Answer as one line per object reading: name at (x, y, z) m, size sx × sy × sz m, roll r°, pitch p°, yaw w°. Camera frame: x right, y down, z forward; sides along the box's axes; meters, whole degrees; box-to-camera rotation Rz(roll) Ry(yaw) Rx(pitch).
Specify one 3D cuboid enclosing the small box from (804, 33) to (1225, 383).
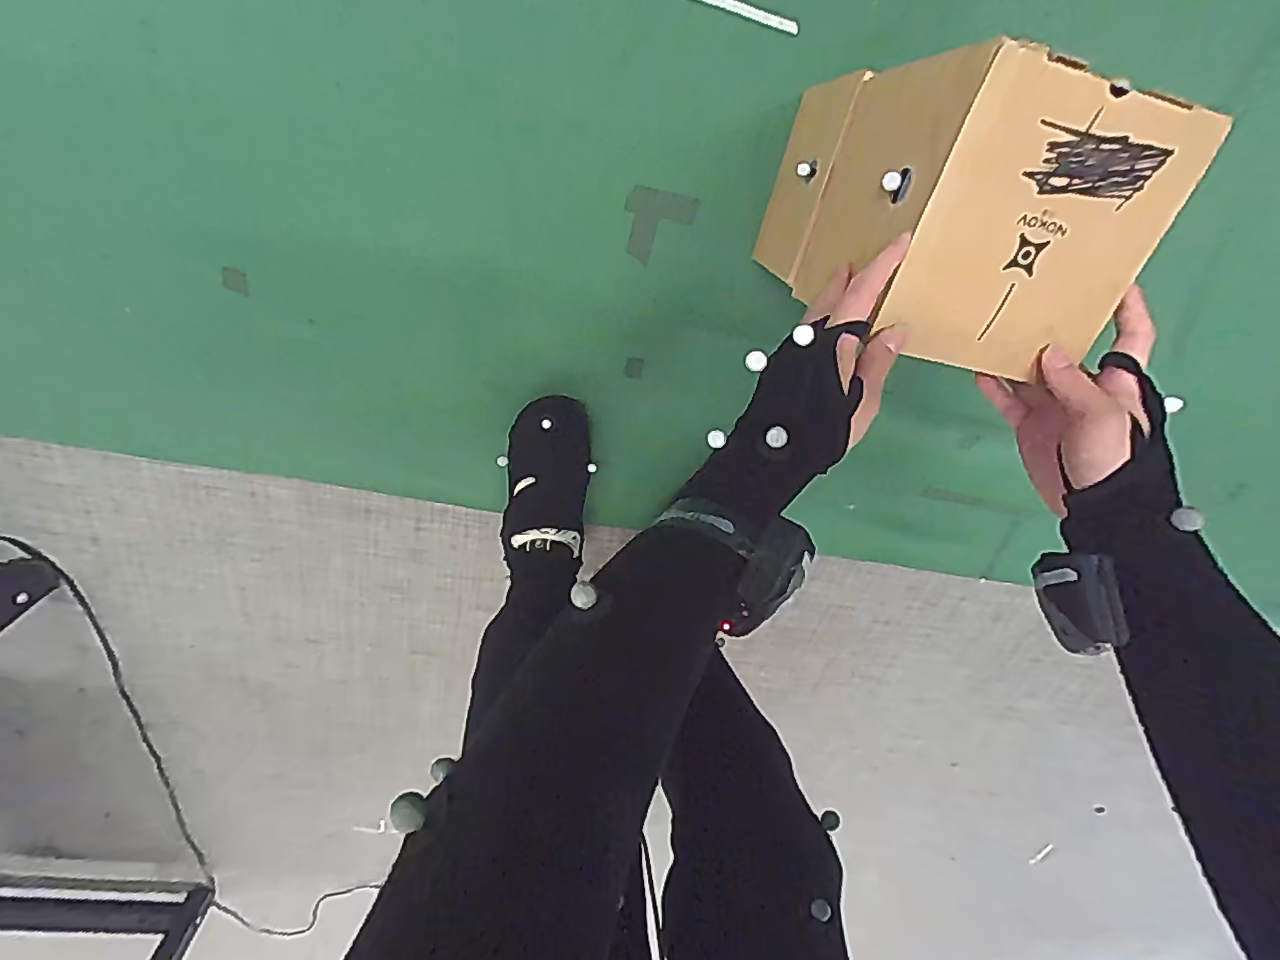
small box at (0.252, -0.201, 0.422) m, size 0.168 × 0.176 × 0.179 m, roll 11°, pitch 120°, yaw -11°

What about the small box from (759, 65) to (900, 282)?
small box at (0.240, -0.293, 0.565) m, size 0.168 × 0.176 × 0.179 m, roll 11°, pitch 120°, yaw -9°
